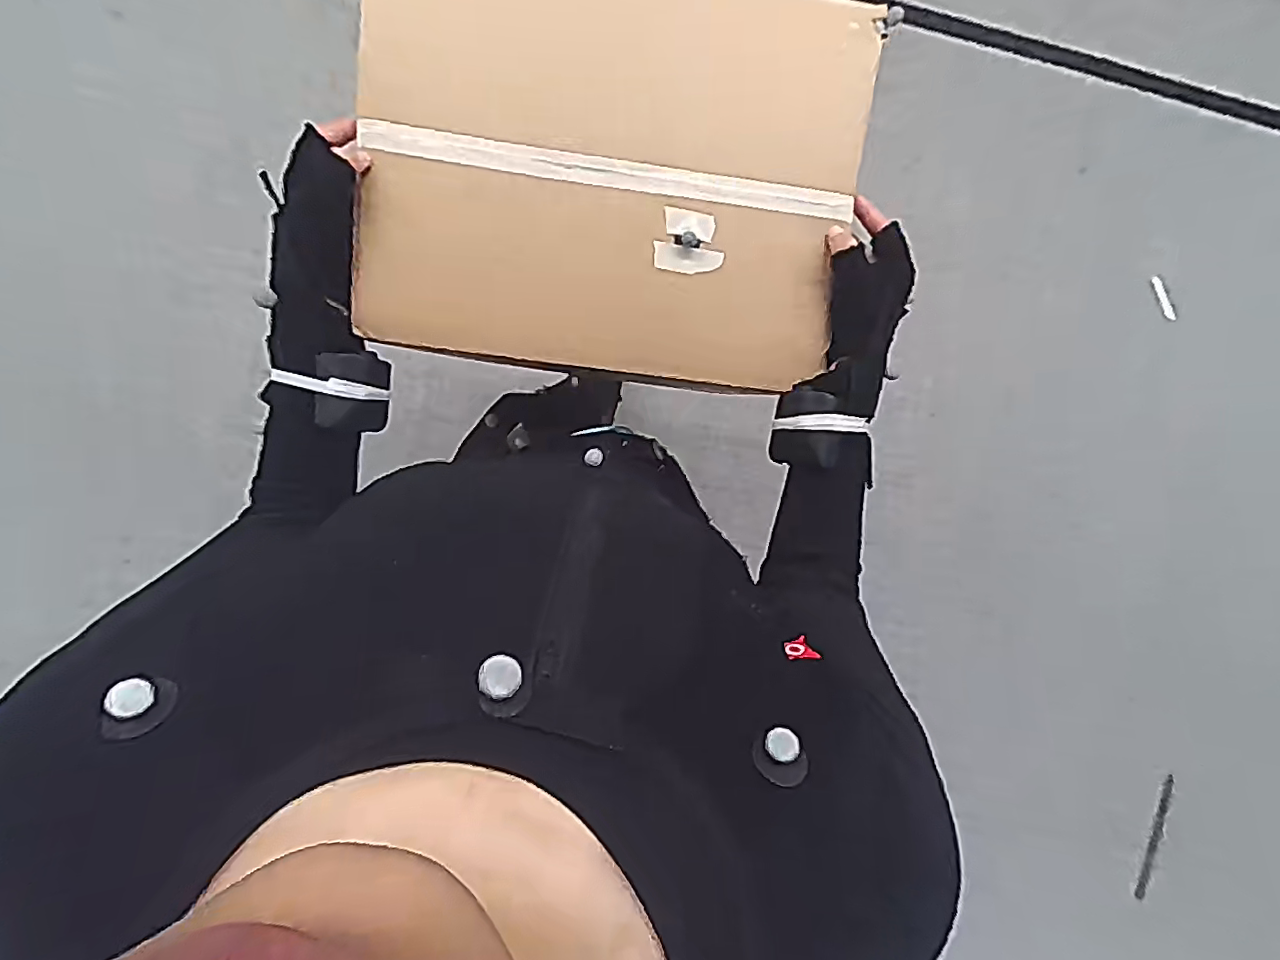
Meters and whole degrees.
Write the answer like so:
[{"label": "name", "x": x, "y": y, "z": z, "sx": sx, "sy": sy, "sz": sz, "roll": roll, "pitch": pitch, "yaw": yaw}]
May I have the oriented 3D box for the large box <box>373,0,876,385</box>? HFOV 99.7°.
[{"label": "large box", "x": -0.029, "y": -0.283, "z": 0.600, "sx": 0.408, "sy": 0.320, "sz": 0.320, "roll": 7, "pitch": 100, "yaw": -6}]
